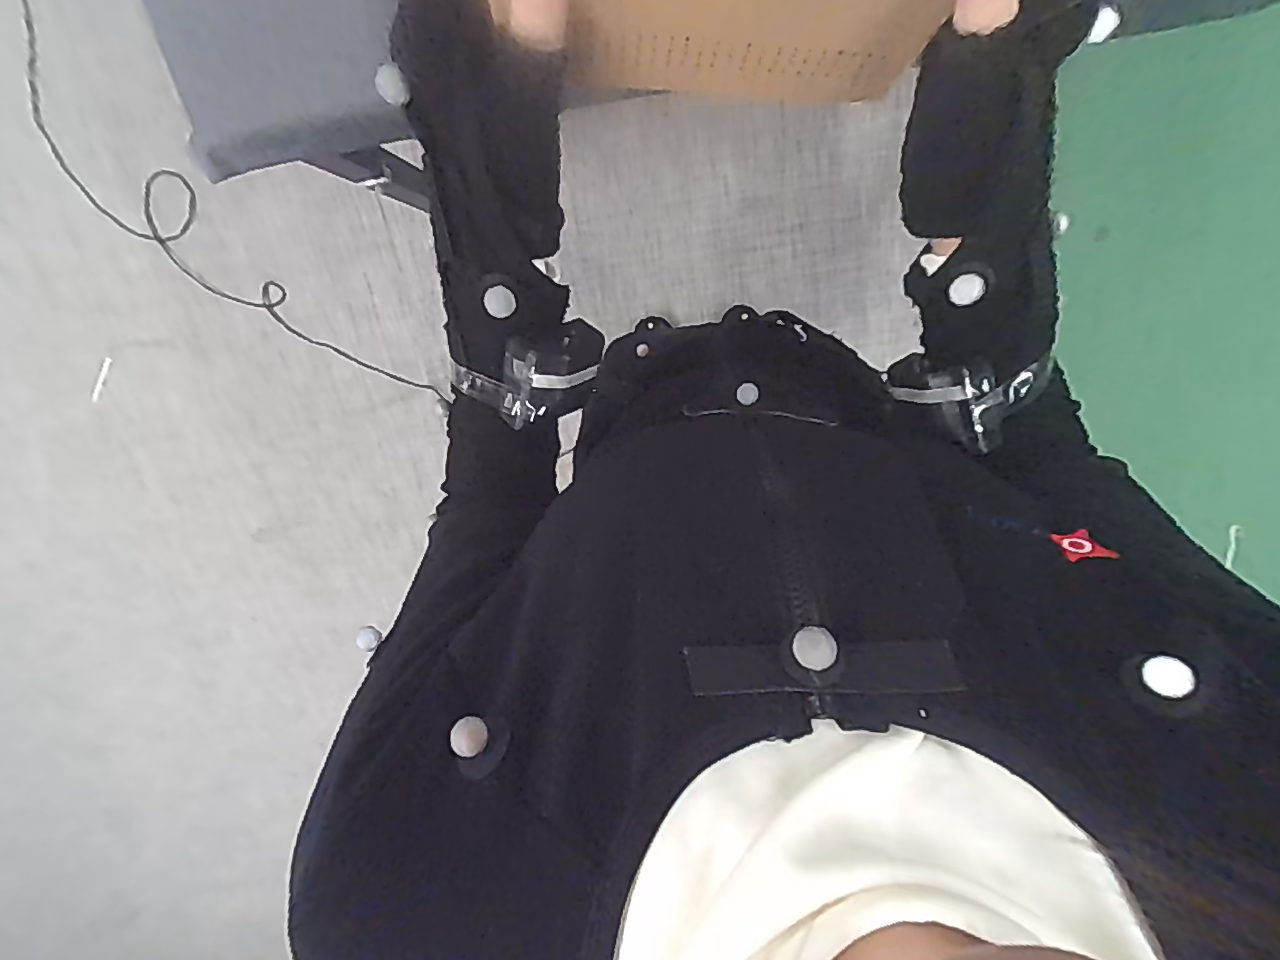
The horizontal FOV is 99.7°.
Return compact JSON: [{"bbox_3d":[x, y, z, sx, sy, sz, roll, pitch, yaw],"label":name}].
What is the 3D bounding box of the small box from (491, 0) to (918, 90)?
[{"bbox_3d":[0.031,-0.263,0.171,0.179,0.176,0.168,0,90,-4],"label":"small box"}]
